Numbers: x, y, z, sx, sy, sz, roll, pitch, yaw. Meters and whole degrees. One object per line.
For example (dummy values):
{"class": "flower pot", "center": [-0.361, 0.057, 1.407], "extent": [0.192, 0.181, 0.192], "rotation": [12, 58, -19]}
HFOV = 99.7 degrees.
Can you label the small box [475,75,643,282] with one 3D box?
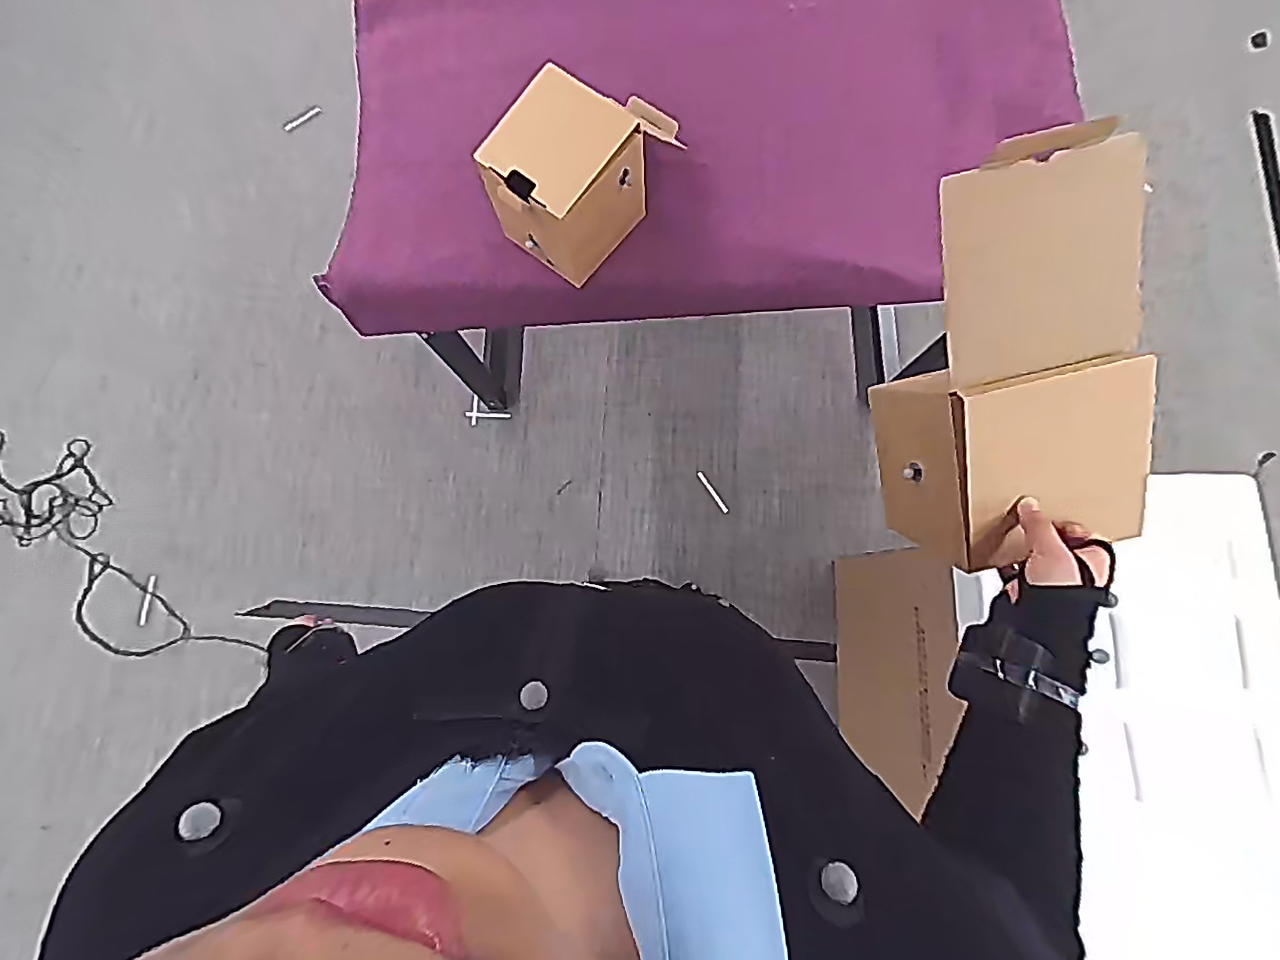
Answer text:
{"class": "small box", "center": [-0.111, -0.445, 0.820], "extent": [0.168, 0.176, 0.179], "rotation": [38, 82, 10]}
